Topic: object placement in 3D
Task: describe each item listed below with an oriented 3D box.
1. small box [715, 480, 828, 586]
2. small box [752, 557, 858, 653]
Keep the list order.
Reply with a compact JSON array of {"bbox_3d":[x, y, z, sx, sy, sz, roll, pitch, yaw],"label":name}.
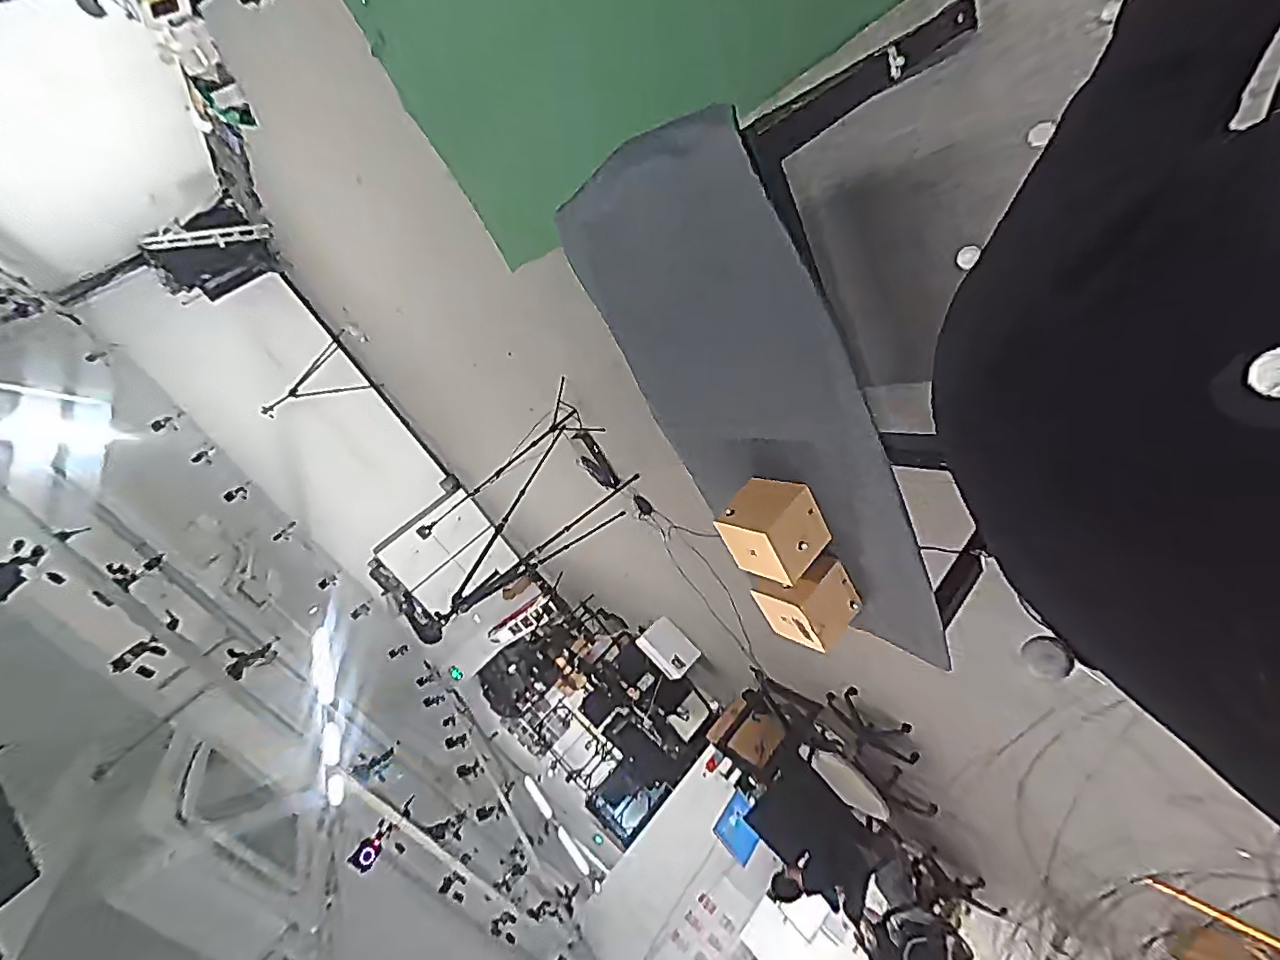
[{"bbox_3d":[0.316,0.116,1.276,0.179,0.176,0.168,12,139,57],"label":"small box"},{"bbox_3d":[0.426,0.300,1.377,0.168,0.176,0.179,57,157,-21],"label":"small box"}]
